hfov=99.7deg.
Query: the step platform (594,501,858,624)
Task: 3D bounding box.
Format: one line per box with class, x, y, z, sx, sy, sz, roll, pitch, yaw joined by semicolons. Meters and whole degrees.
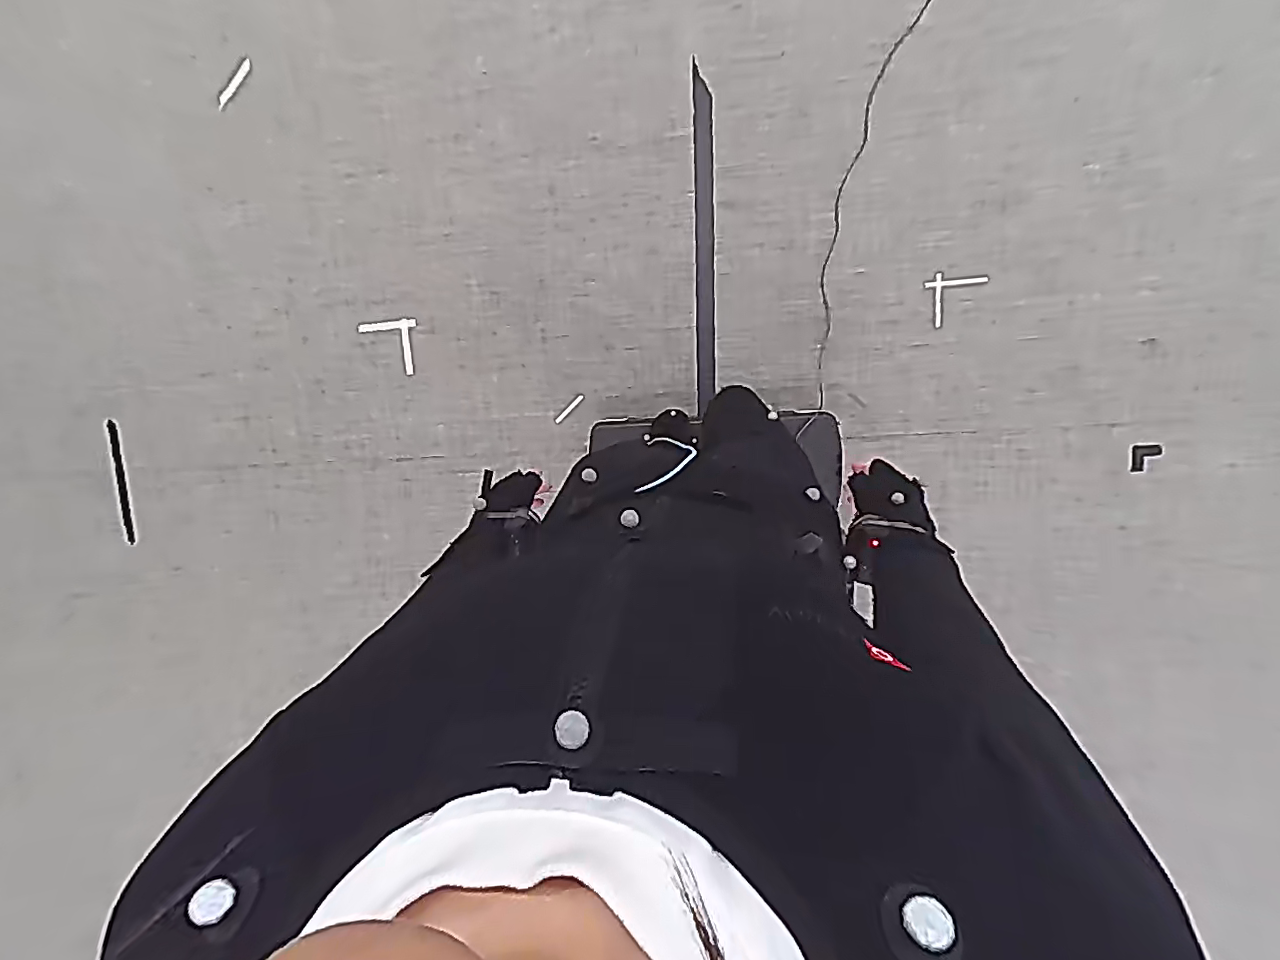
step platform;0.219;0.222;1.451;0.684;0.204;0.286;-3;96;7
